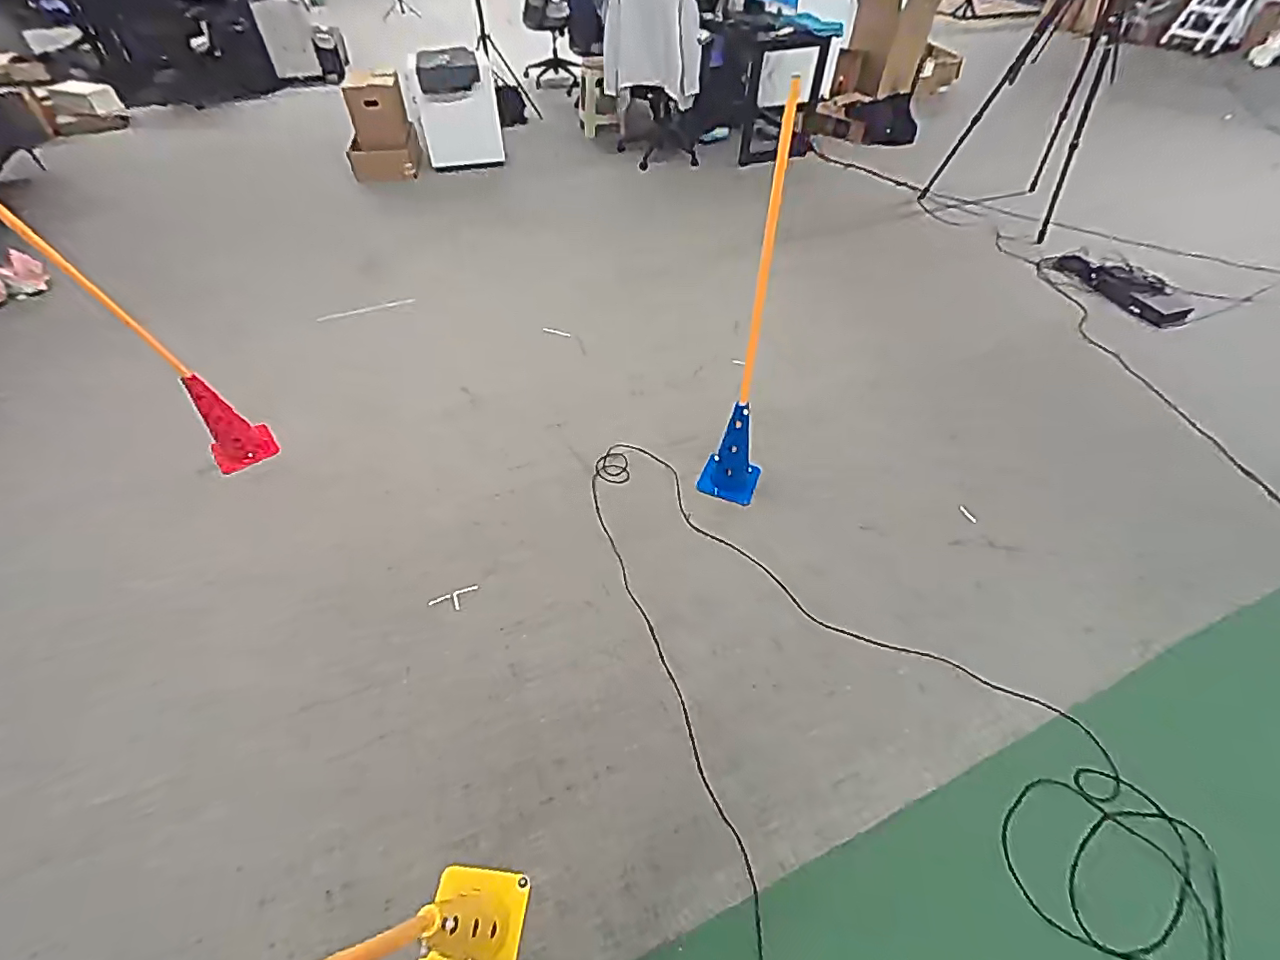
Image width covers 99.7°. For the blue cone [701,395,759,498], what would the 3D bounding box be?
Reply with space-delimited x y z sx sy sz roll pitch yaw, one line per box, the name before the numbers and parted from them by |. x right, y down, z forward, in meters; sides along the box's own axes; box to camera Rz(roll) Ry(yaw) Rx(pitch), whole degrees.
blue cone | 0.329 -0.132 1.848 0.192 0.380 0.193 16 48 14
